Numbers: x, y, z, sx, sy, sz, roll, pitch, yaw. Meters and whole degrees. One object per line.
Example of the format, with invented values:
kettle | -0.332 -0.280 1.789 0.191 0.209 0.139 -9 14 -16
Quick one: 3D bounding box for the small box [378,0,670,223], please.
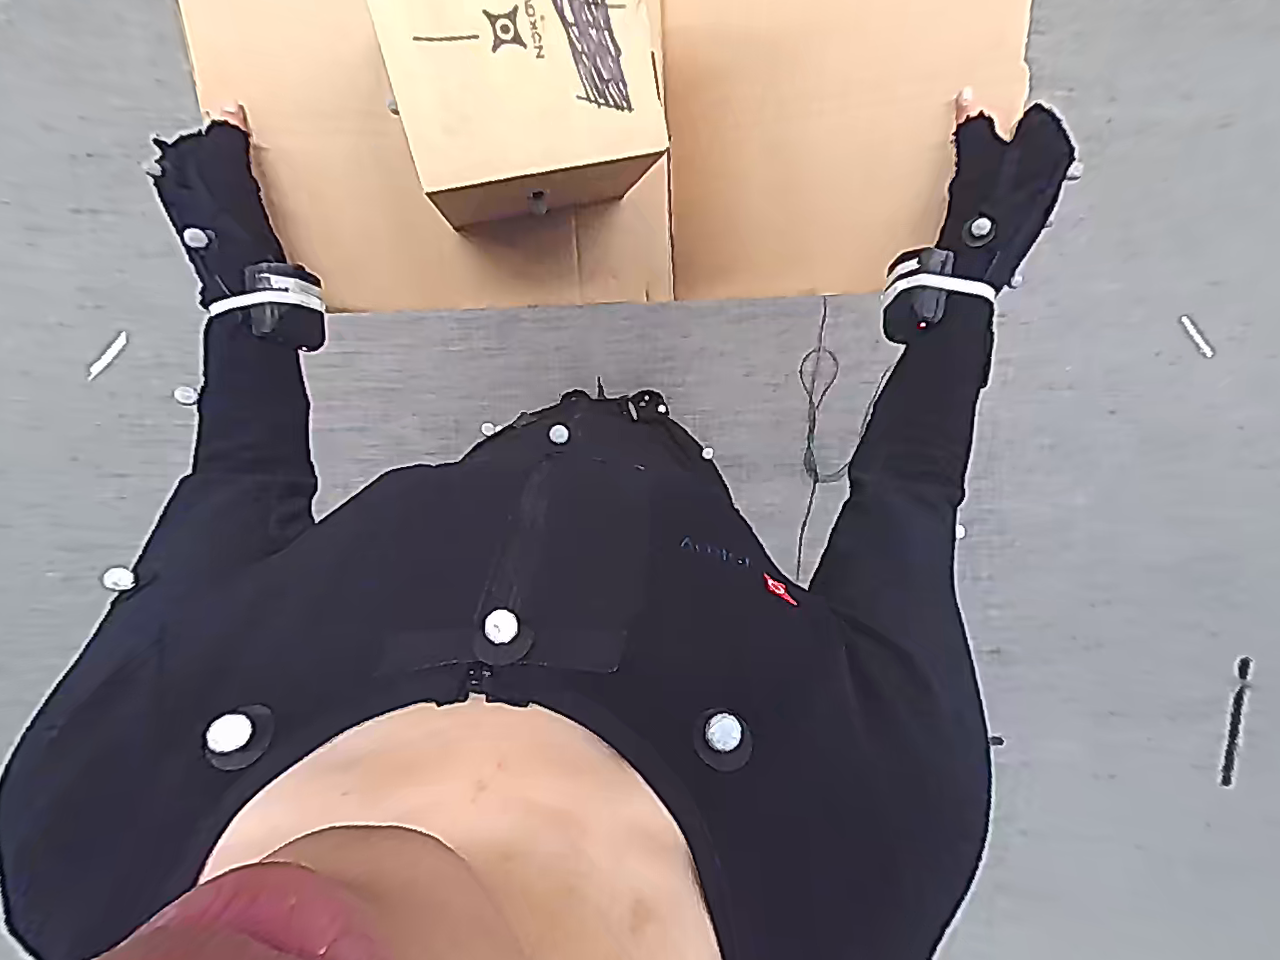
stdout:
small box | -0.092 -0.317 0.431 0.179 0.176 0.168 -14 110 -7
